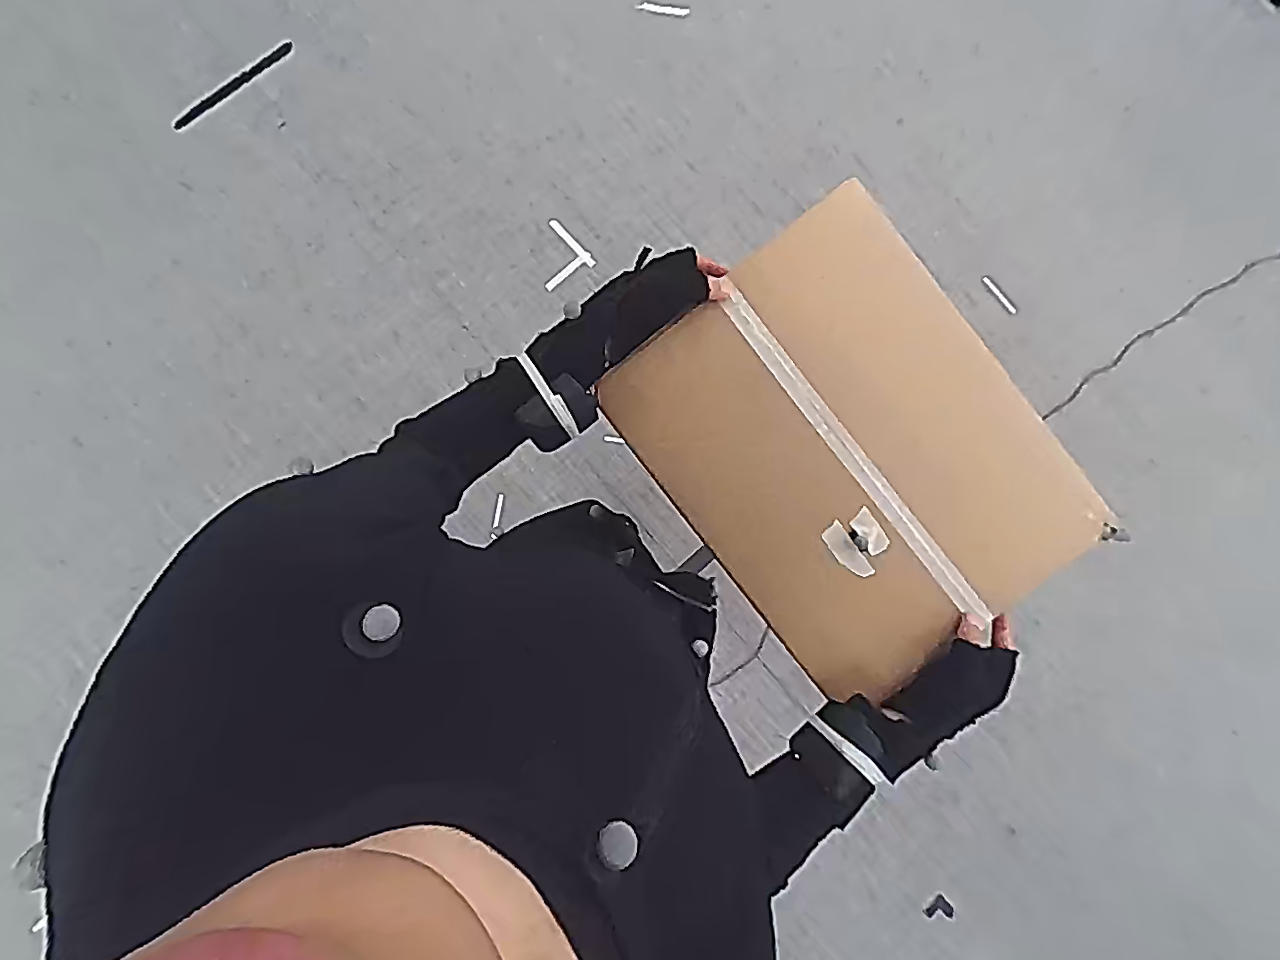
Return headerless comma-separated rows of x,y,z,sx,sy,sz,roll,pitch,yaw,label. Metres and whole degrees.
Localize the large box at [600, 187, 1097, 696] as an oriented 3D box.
0.199,-0.040,0.666,0.320,0.320,0.408,-38,92,3,large box
